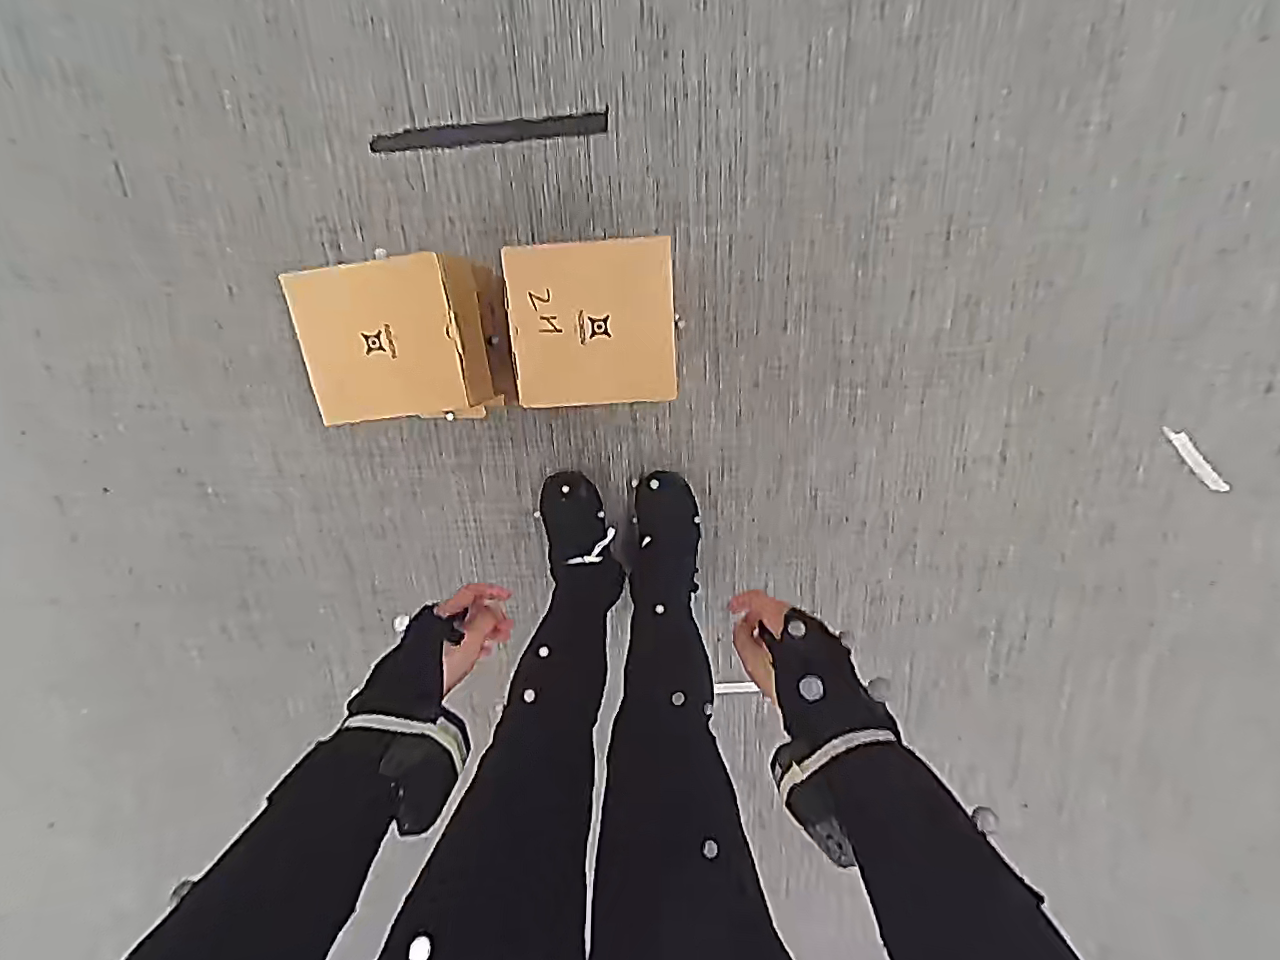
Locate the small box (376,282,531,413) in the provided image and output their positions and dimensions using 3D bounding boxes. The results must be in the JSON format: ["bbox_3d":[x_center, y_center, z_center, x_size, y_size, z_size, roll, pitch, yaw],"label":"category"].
[{"bbox_3d":[-0.266,-0.201,0.816,0.168,0.176,0.179,0,106,2],"label":"small box"}]
